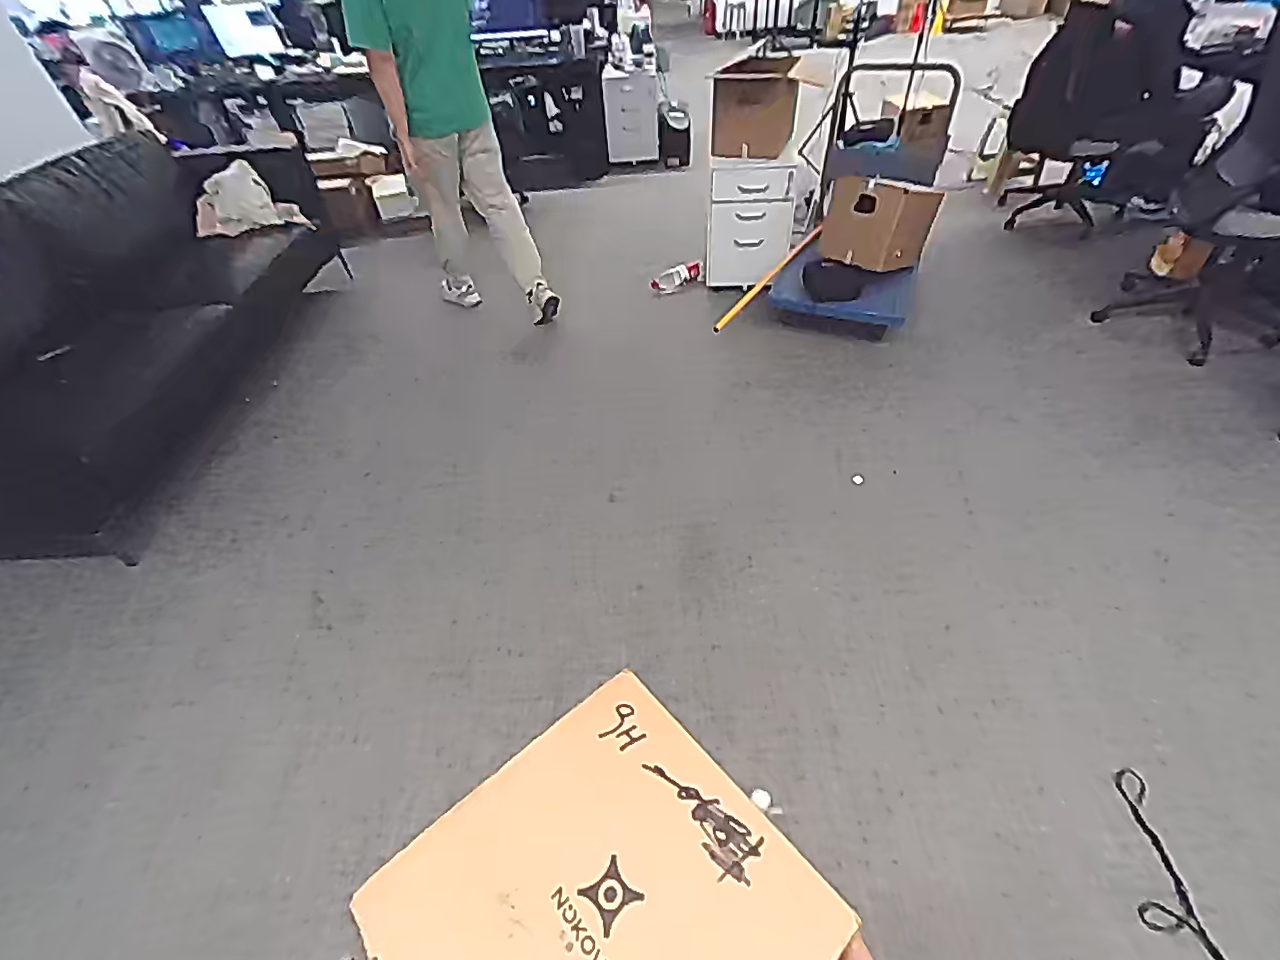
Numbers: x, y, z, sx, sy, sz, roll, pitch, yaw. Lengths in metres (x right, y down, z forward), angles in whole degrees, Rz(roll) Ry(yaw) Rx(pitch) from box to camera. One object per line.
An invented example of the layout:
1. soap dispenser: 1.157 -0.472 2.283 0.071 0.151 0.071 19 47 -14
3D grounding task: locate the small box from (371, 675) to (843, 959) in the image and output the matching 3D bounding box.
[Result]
1. small box: -0.013 0.262 0.313 0.179 0.176 0.168 -32 48 -26
